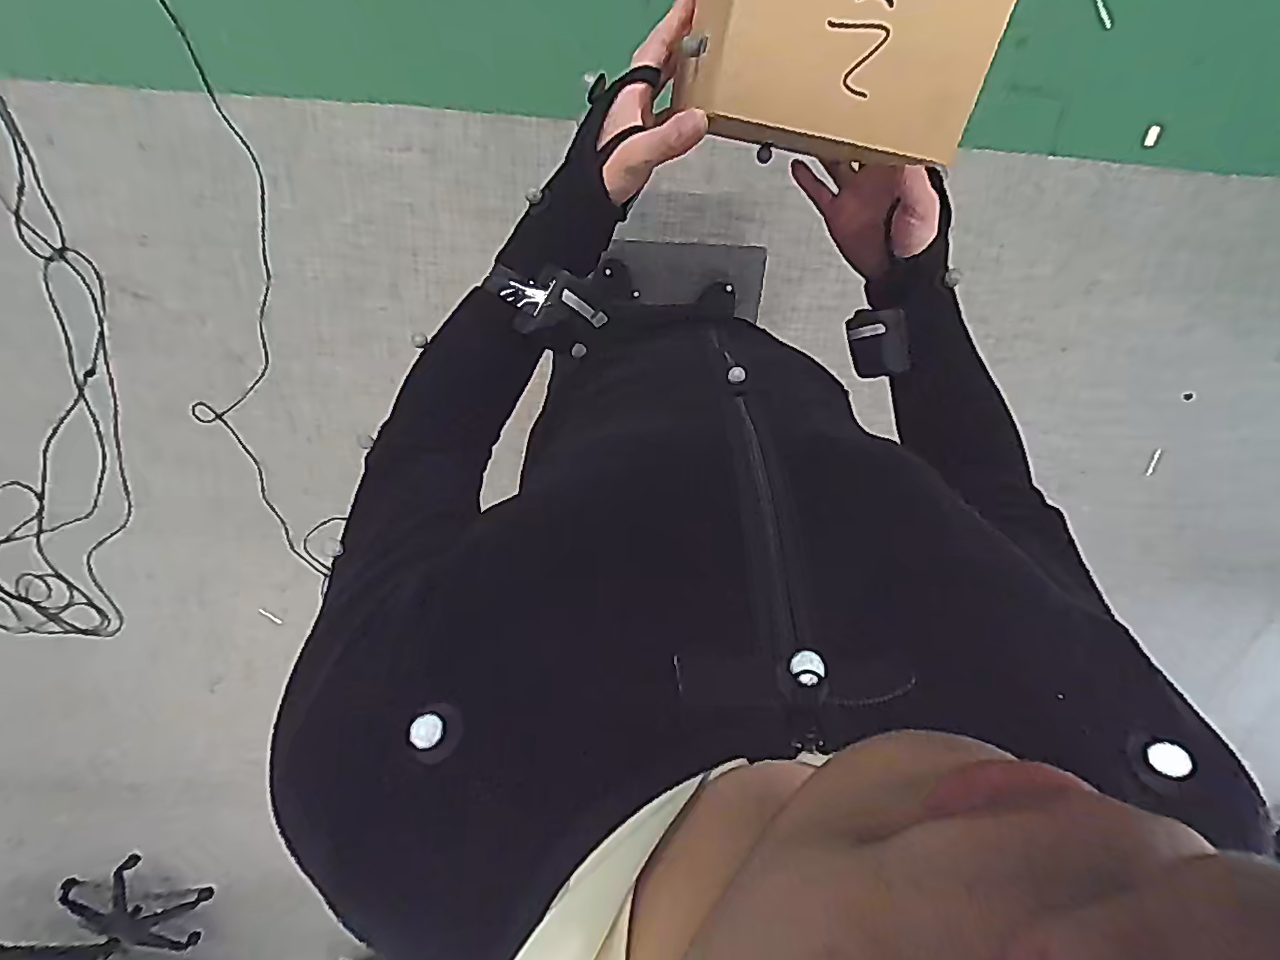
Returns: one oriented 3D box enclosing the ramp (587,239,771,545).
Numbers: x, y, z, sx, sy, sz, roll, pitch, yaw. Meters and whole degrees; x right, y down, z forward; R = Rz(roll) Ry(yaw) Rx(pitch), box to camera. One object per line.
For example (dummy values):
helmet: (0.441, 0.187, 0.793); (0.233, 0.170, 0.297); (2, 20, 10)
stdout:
ramp: (0.087, -0.198, 1.671); (0.509, 0.206, 0.991); (0, 112, -2)
